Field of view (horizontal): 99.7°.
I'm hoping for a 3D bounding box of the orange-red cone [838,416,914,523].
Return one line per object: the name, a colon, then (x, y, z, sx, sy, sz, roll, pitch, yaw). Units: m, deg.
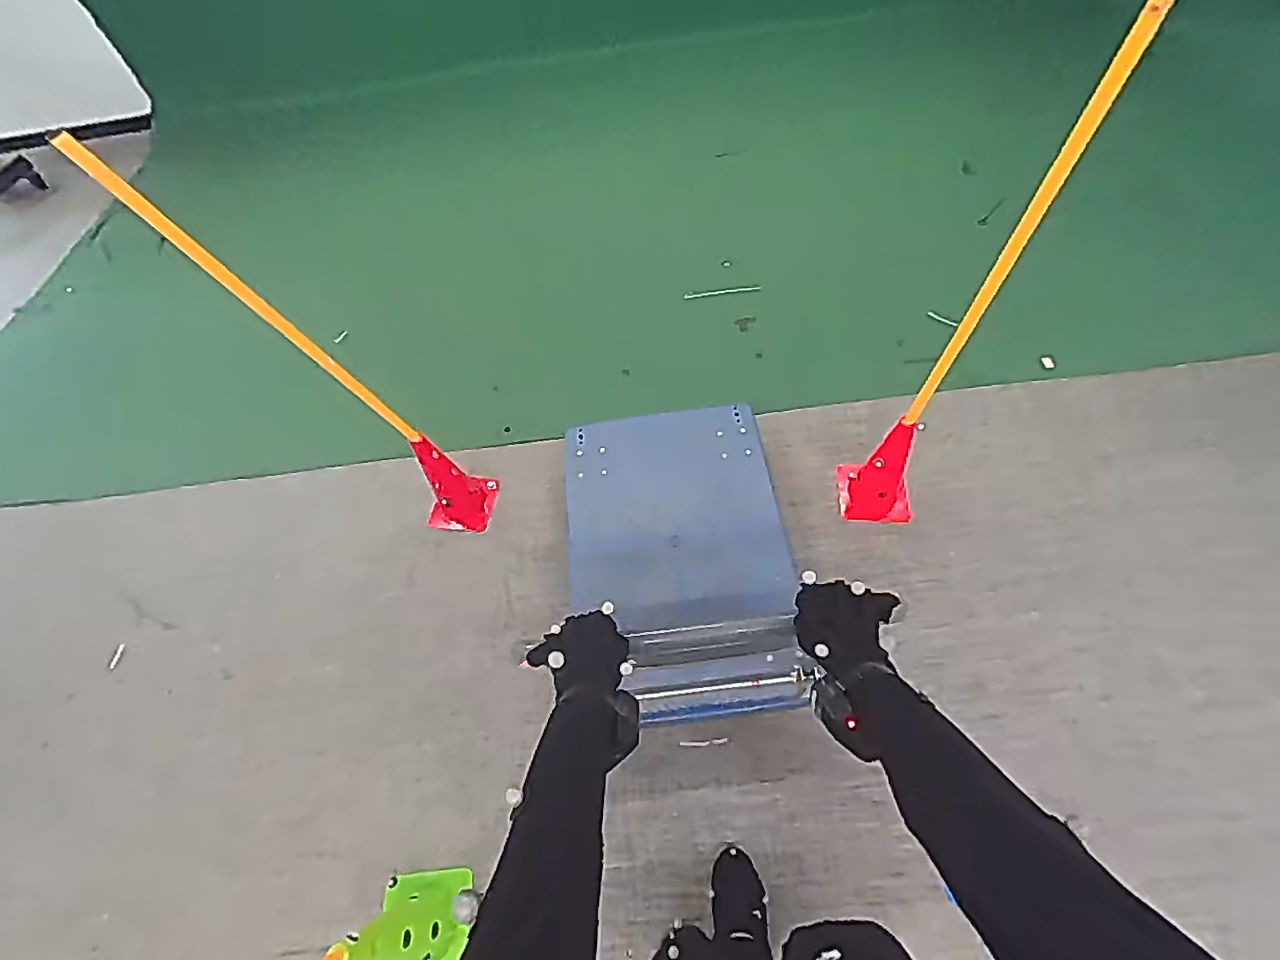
orange-red cone: (0.691, -0.051, 1.505, 0.198, 0.360, 0.199, 3, 58, 9)
